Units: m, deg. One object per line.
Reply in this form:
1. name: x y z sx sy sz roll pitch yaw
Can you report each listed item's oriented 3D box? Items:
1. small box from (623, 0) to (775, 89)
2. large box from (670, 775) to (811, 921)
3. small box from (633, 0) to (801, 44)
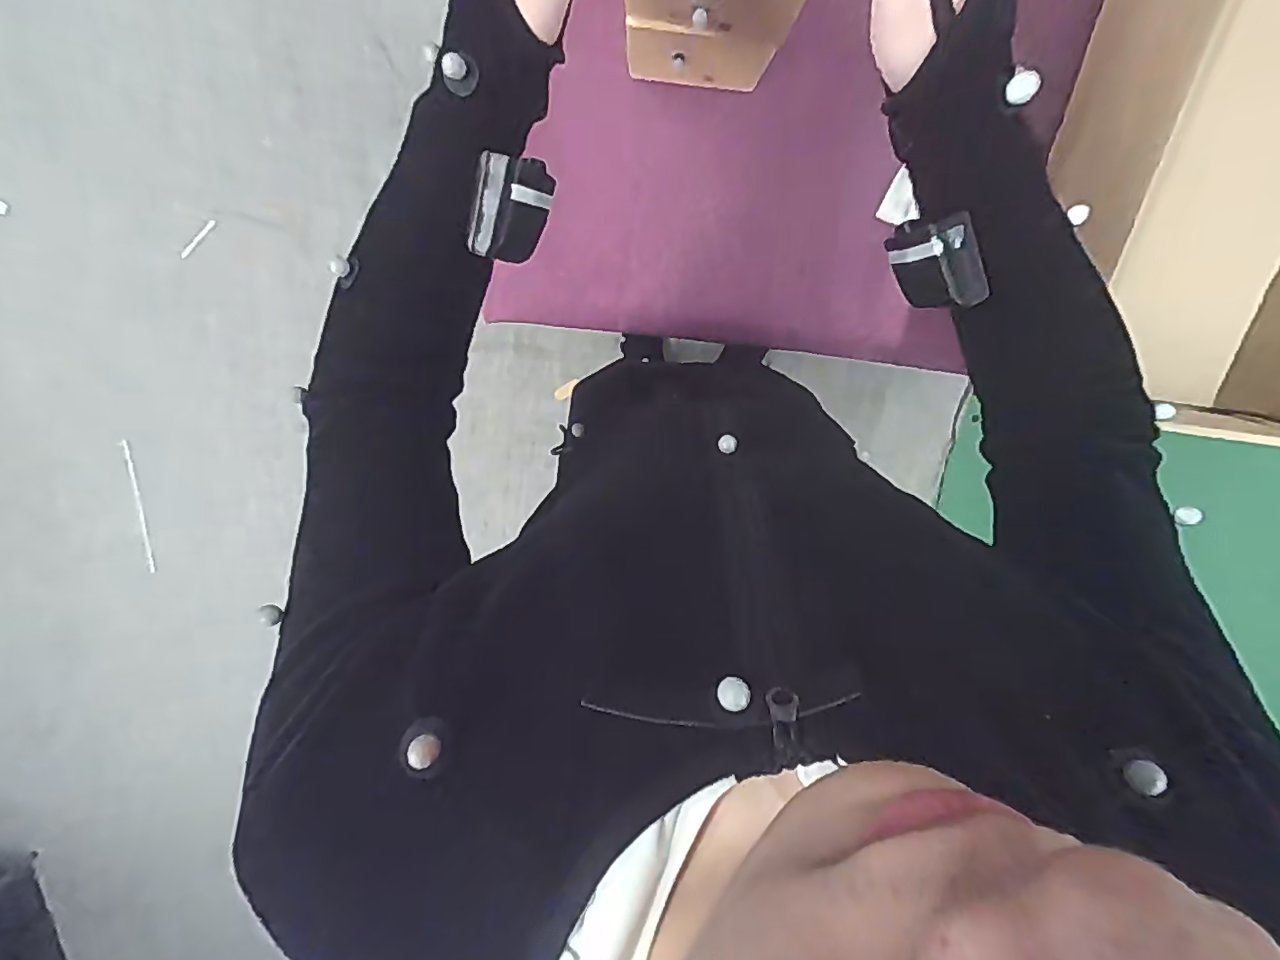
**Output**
1. small box: 0.075 -0.573 0.610 0.168 0.176 0.179 6 109 -1
2. large box: 0.359 1.390 2.021 0.408 0.320 0.320 -24 109 8
3. small box: 0.079 -0.519 0.454 0.168 0.176 0.179 10 110 -2
